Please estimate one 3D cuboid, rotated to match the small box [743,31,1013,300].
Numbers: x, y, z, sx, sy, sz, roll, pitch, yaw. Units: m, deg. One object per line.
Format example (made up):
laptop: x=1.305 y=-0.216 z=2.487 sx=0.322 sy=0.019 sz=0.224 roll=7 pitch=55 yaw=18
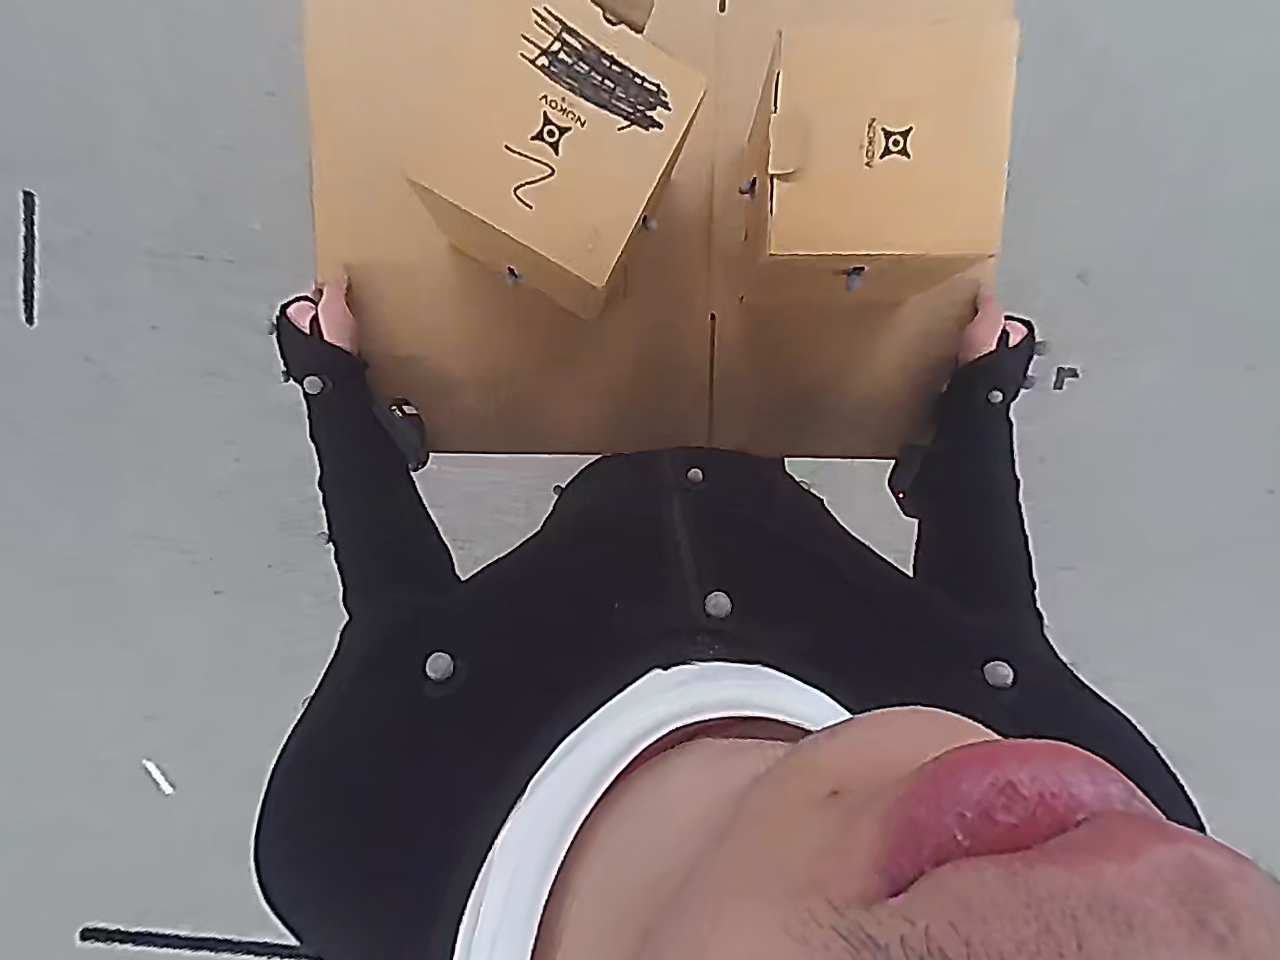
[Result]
small box: x=0.197 y=-0.268 z=0.500 sx=0.179 sy=0.176 sz=0.168 roll=1 pitch=97 yaw=4
